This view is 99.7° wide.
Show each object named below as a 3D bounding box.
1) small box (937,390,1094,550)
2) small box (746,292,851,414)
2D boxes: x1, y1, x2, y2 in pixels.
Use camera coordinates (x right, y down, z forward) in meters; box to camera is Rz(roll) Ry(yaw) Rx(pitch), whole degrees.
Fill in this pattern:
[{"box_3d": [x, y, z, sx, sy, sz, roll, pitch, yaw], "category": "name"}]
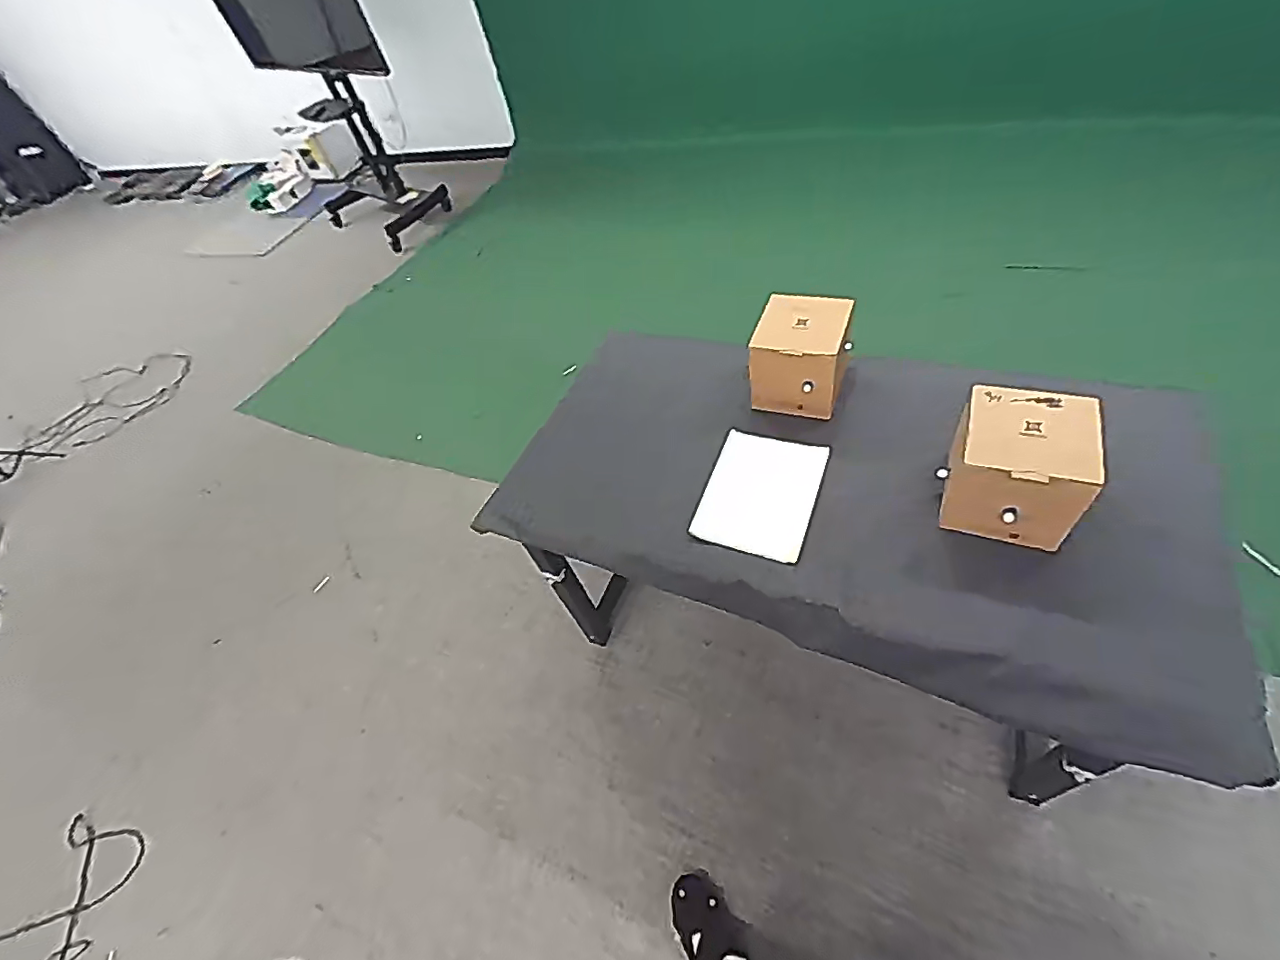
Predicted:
[{"box_3d": [0.585, -0.013, 0.857, 0.168, 0.176, 0.179, 13, 57, 23], "category": "small box"}, {"box_3d": [0.322, -0.256, 1.101, 0.168, 0.176, 0.179, 12, 55, 22], "category": "small box"}]
